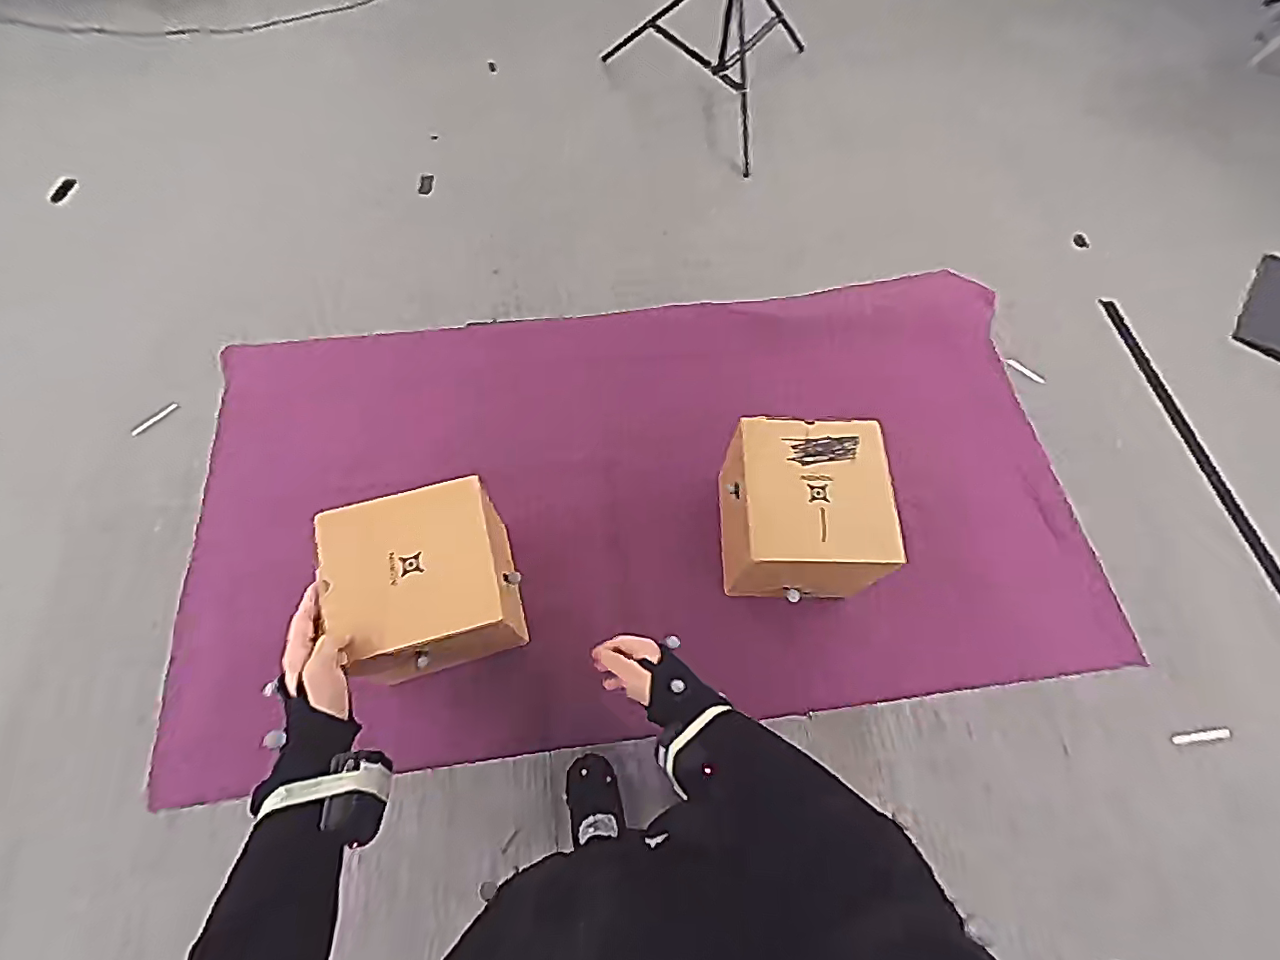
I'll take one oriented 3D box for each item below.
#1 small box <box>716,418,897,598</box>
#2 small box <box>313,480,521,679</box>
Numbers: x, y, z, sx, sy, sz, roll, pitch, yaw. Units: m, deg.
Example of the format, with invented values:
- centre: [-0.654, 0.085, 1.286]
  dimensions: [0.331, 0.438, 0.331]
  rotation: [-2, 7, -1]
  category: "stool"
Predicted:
- centre: [0.190, 0.041, 0.678]
  dimensions: [0.168, 0.176, 0.179]
  rotation: [1, 66, -1]
  category: "small box"
- centre: [-0.245, 0.123, 0.630]
  dimensions: [0.179, 0.176, 0.168]
  rotation: [-15, 68, -8]
  category: "small box"
